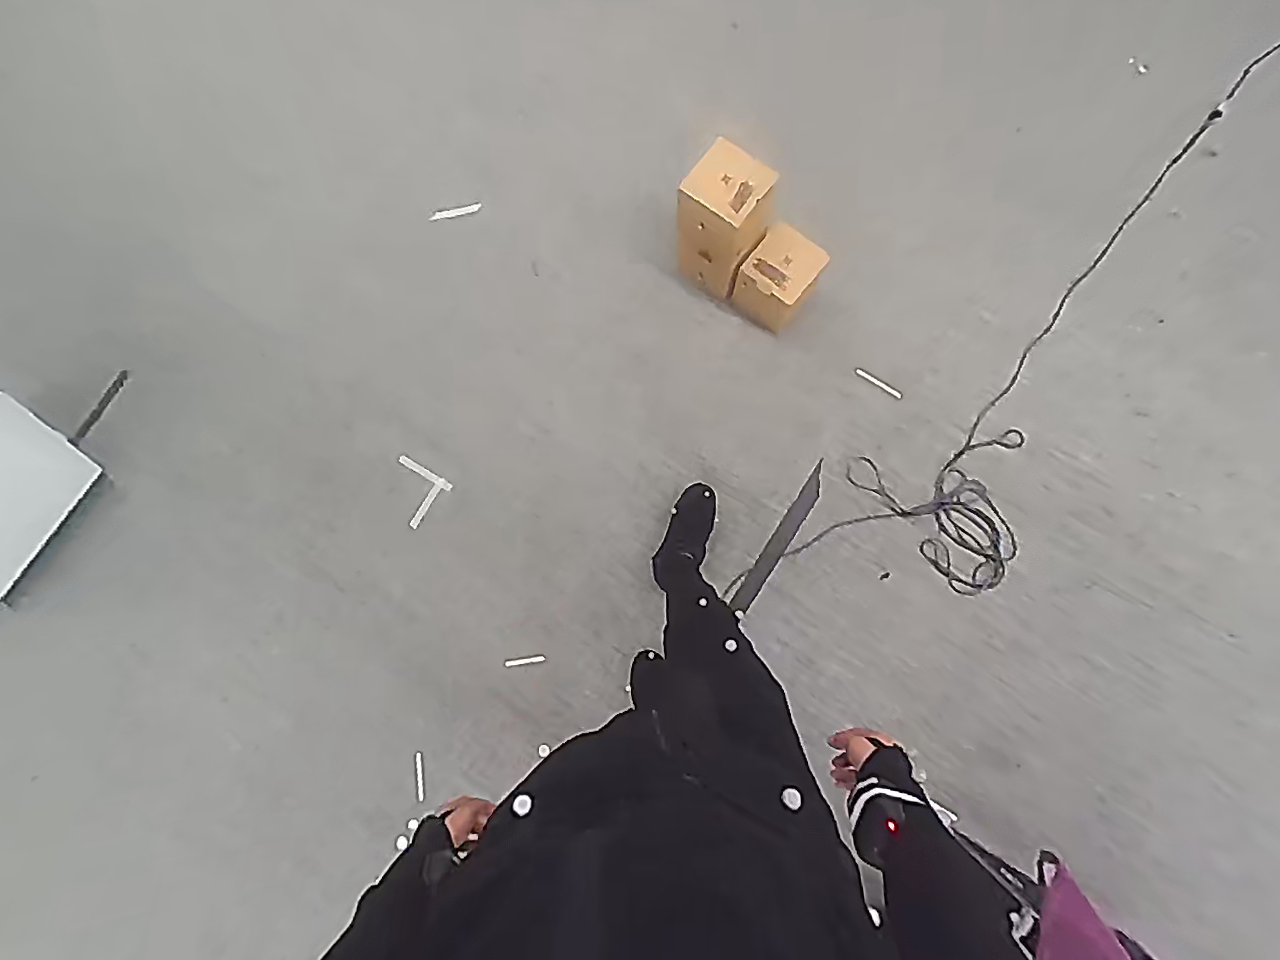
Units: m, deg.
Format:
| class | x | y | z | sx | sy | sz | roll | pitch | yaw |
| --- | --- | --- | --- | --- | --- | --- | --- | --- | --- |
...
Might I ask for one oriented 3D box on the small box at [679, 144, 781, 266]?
| class | x | y | z | sx | sy | sz | roll | pitch | yaw |
| --- | --- | --- | --- | --- | --- | --- | --- | --- | --- |
| small box | 0.212 | -0.655 | 1.314 | 0.179 | 0.176 | 0.168 | 38 | 85 | 8 |
